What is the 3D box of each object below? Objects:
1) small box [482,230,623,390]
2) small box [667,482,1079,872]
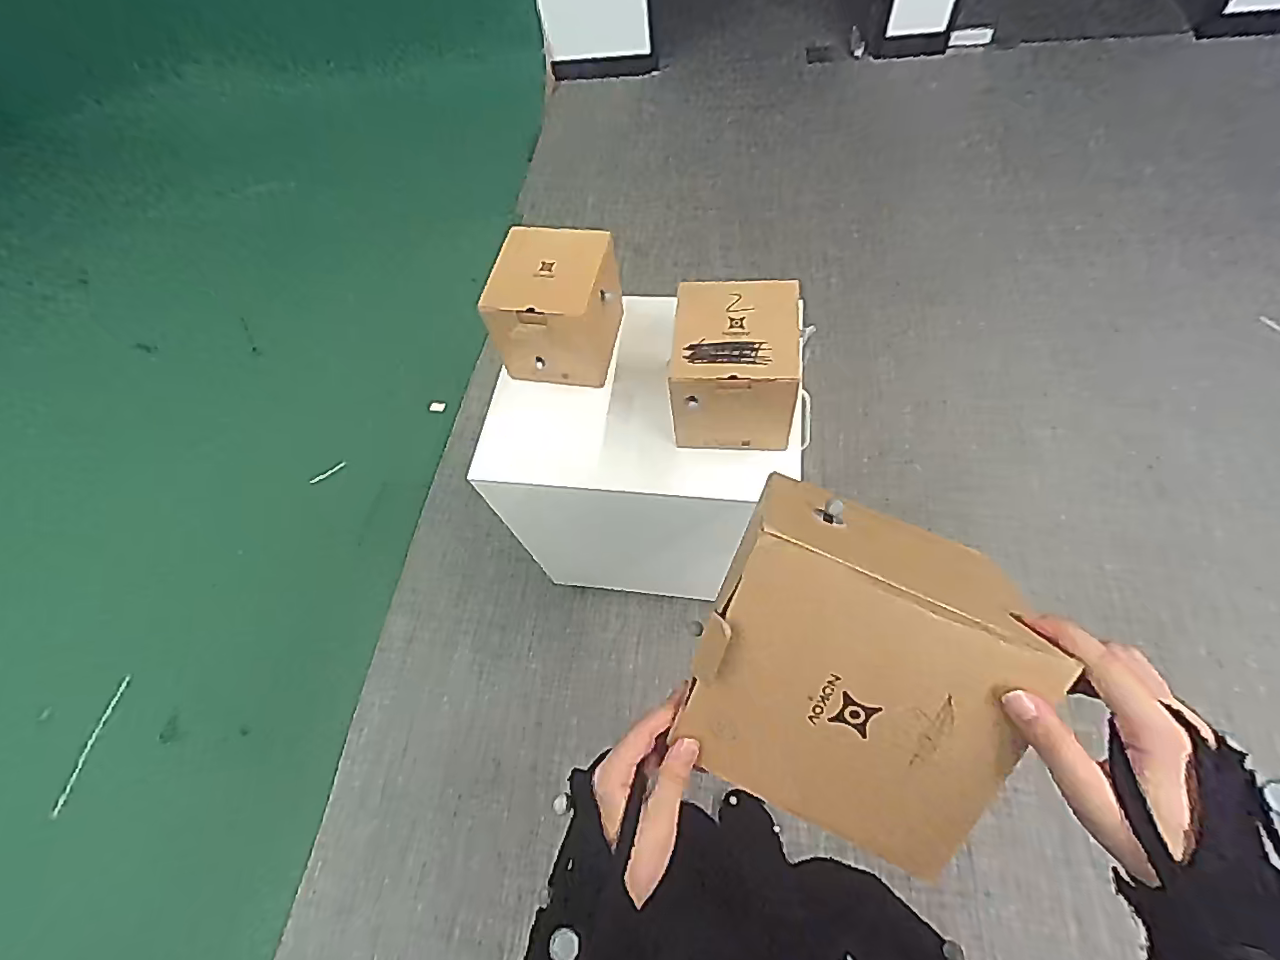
[{"bbox_3d":[-0.128,-0.272,0.876,0.168,0.176,0.179,8,64,10],"label":"small box"},{"bbox_3d":[0.141,0.112,0.387,0.179,0.176,0.168,21,108,10],"label":"small box"}]
